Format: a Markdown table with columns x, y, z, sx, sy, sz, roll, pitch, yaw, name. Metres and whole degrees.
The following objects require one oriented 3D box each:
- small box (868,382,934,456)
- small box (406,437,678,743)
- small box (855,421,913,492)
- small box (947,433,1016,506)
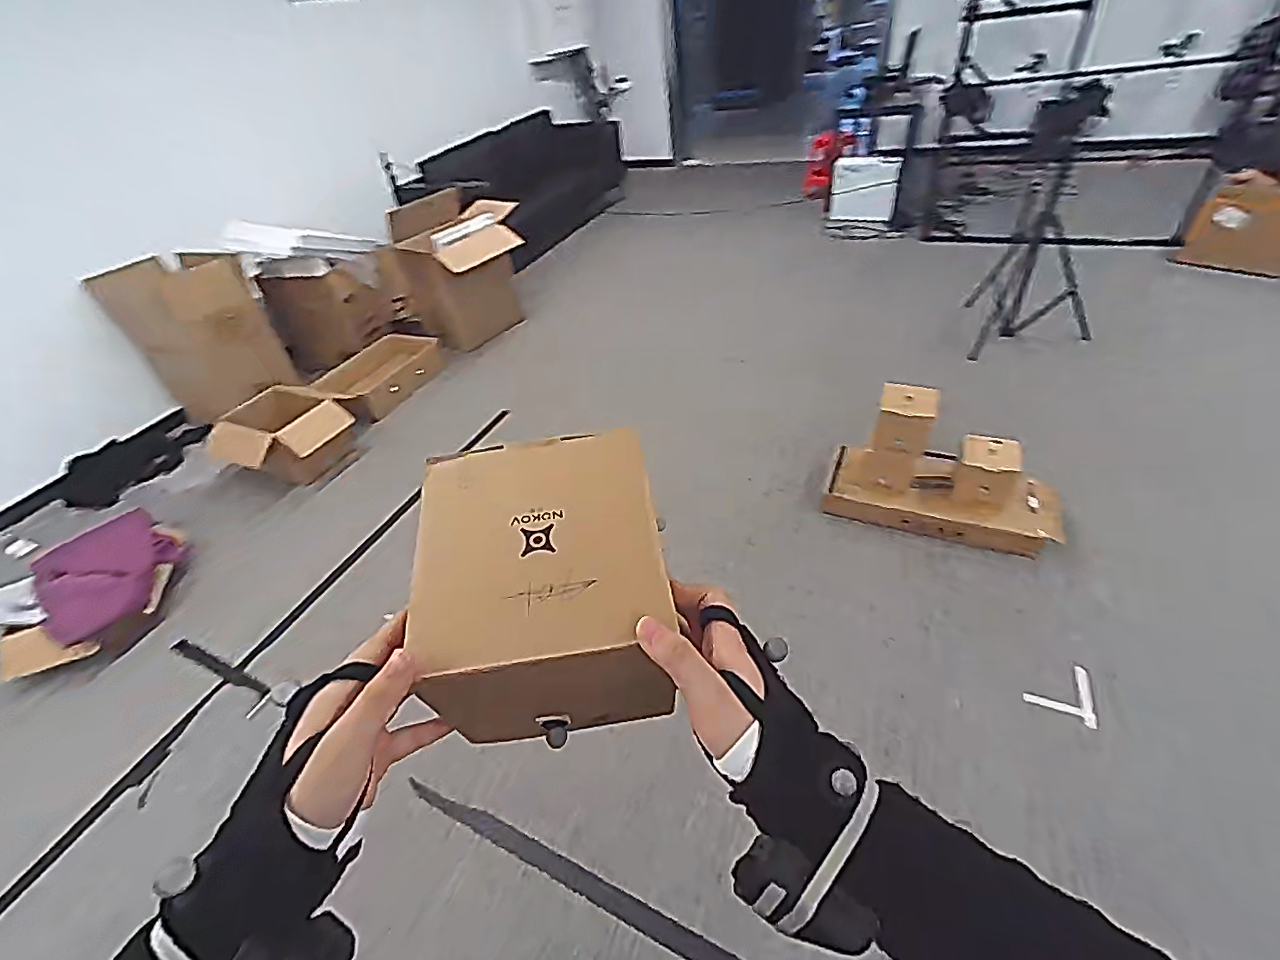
| x | y | z | sx | sy | sz | roll | pitch | yaw | name |
| --- | --- | --- | --- | --- | --- | --- | --- | --- | --- |
| 0.884 | -0.208 | 1.839 | 0.168 | 0.176 | 0.179 | 13 | 45 | 23 | small box |
| -0.067 | 0.091 | 0.436 | 0.168 | 0.176 | 0.179 | -7 | 53 | -3 | small box |
| 0.883 | -0.085 | 1.950 | 0.168 | 0.176 | 0.179 | 11 | 46 | 21 | small box |
| 1.158 | -0.034 | 1.842 | 0.168 | 0.176 | 0.179 | 11 | 45 | 22 | small box |
